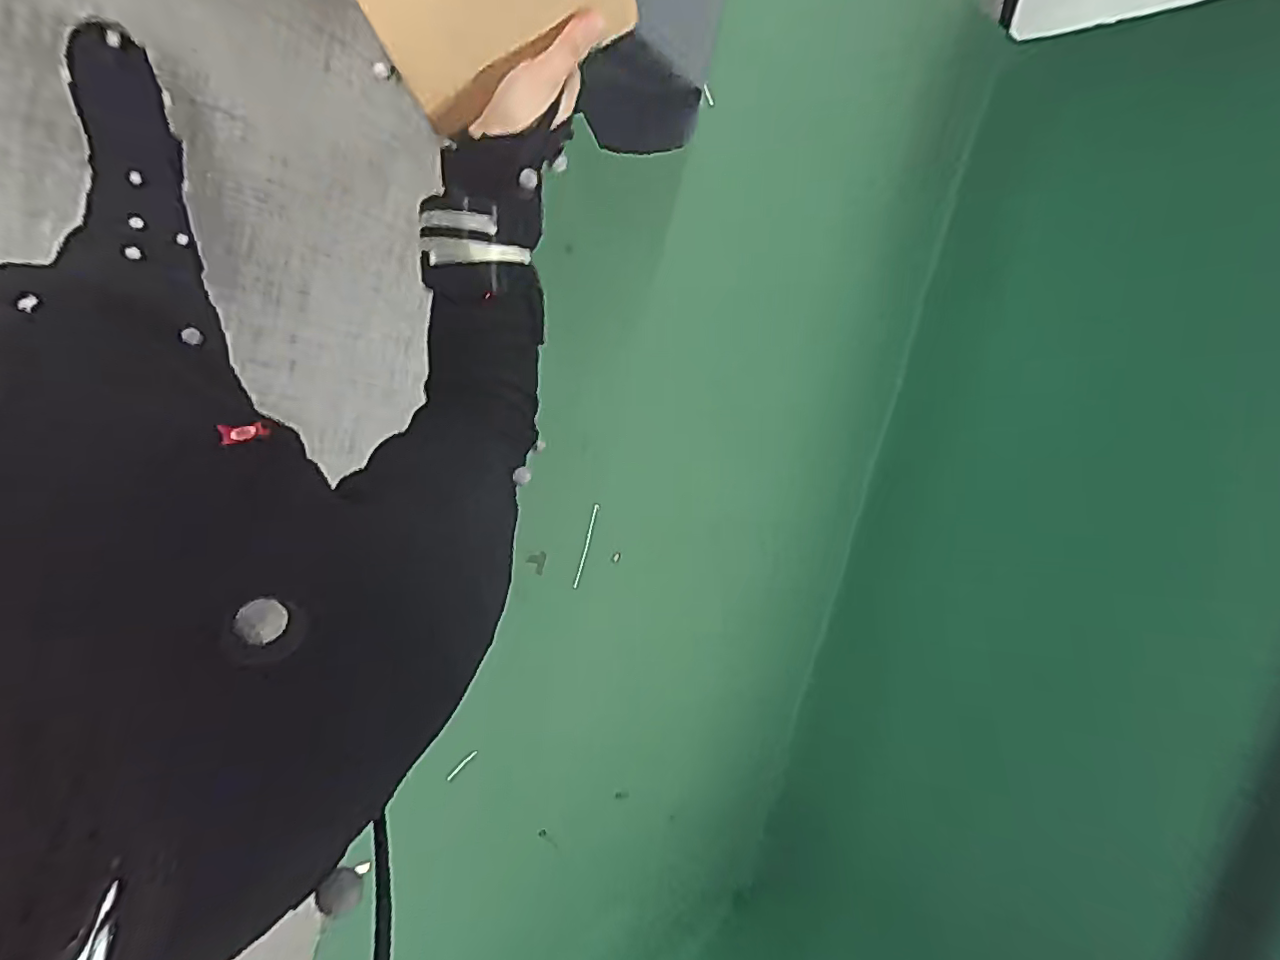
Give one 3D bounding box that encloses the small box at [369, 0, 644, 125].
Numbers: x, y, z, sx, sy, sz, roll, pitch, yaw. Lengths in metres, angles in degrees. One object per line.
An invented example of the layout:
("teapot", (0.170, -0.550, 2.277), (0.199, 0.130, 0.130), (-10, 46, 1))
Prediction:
("small box", (-0.120, -0.380, 0.330), (0.168, 0.176, 0.179), (-30, 160, 1))
